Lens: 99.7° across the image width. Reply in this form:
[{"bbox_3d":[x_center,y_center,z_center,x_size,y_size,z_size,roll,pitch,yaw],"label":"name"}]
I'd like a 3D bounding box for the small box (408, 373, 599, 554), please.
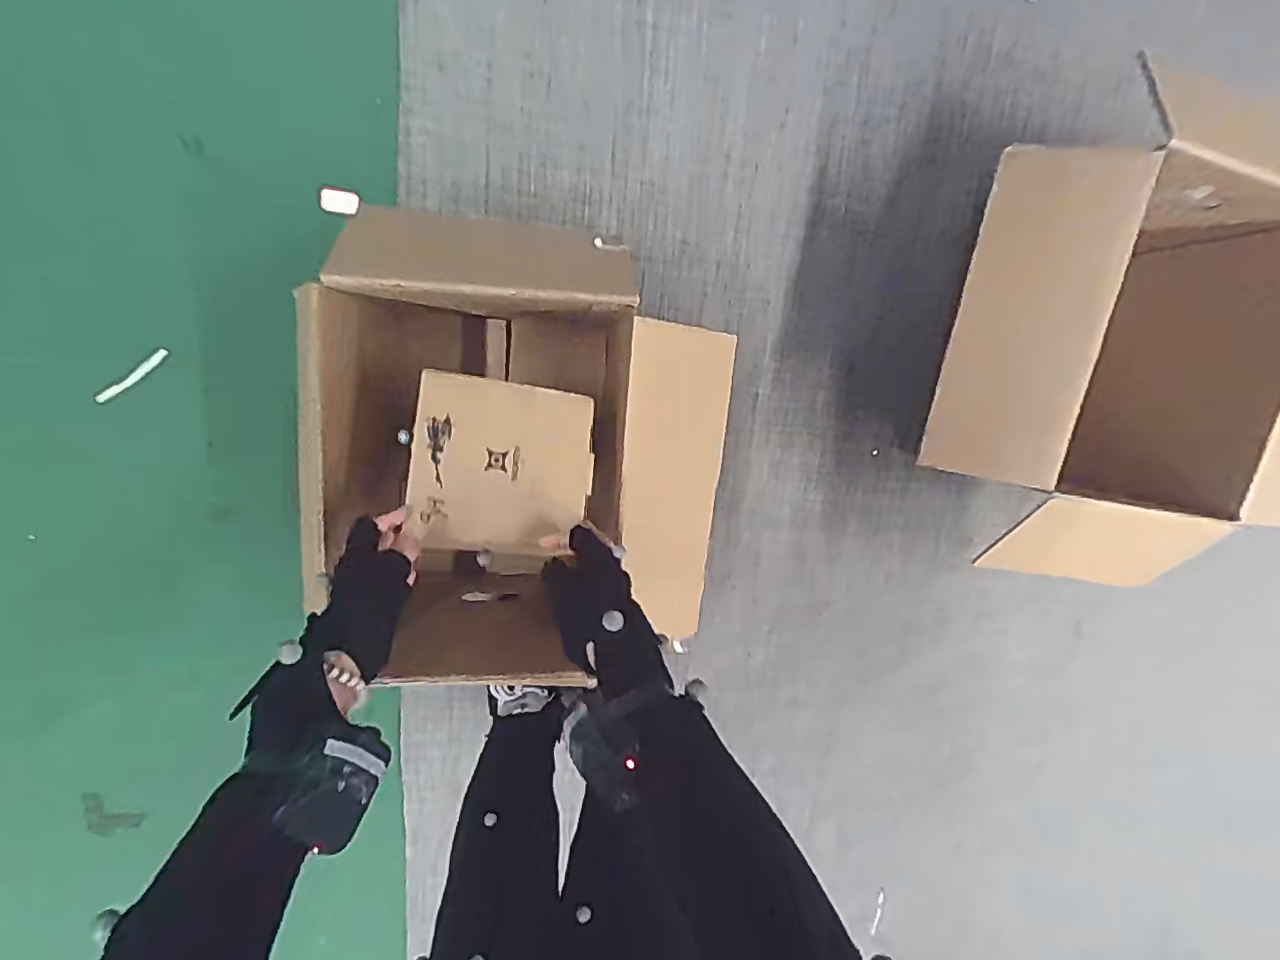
[{"bbox_3d":[-0.162,-0.005,0.627,0.179,0.176,0.168,9,78,-20],"label":"small box"}]
